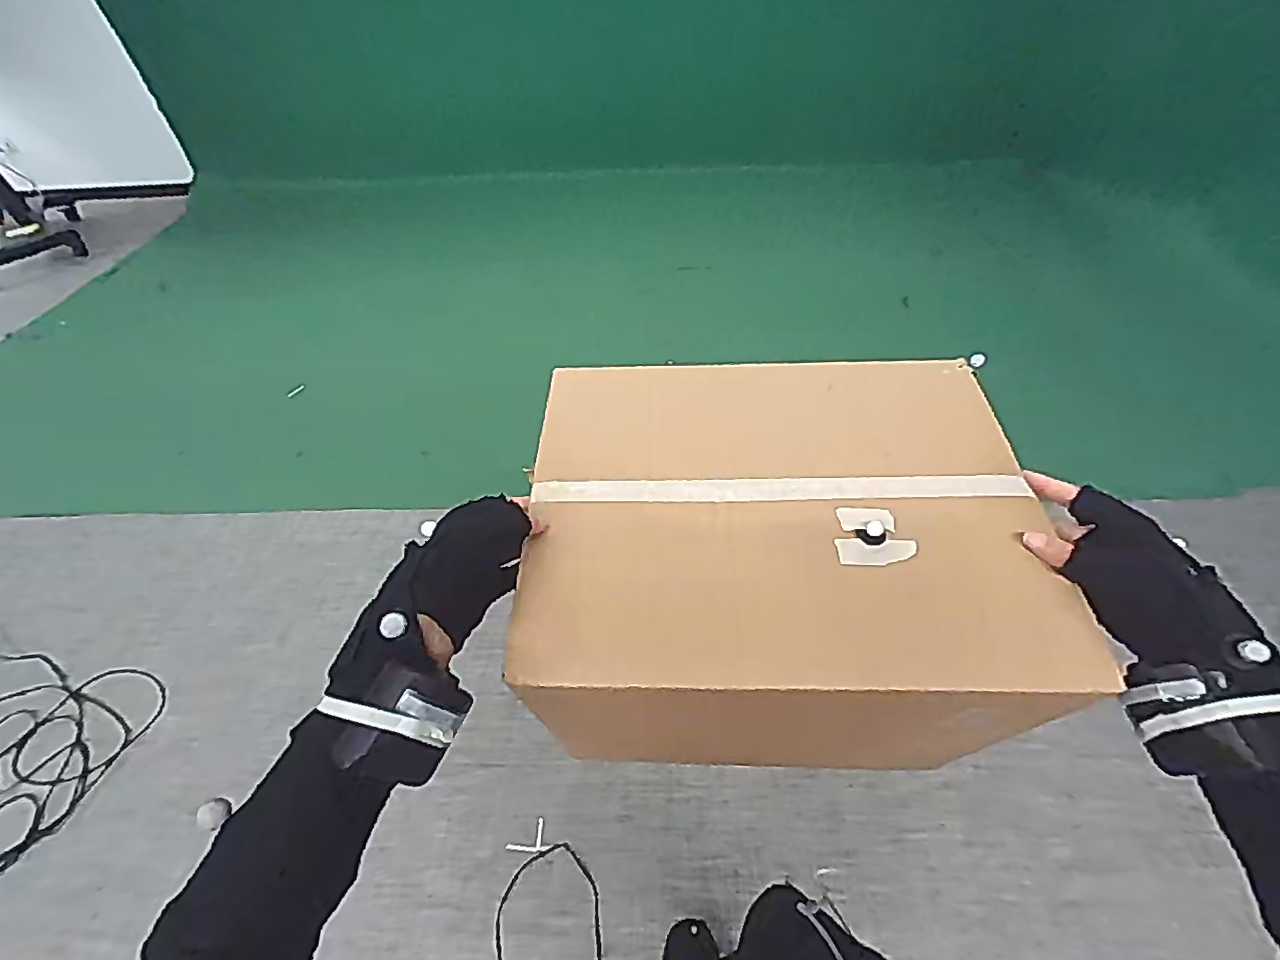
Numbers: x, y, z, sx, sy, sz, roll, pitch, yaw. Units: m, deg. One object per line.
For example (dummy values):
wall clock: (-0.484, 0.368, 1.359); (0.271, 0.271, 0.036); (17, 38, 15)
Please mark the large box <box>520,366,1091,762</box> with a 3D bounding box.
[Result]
large box: (0.118, 0.104, 0.581); (0.408, 0.320, 0.320); (-2, 54, 3)
